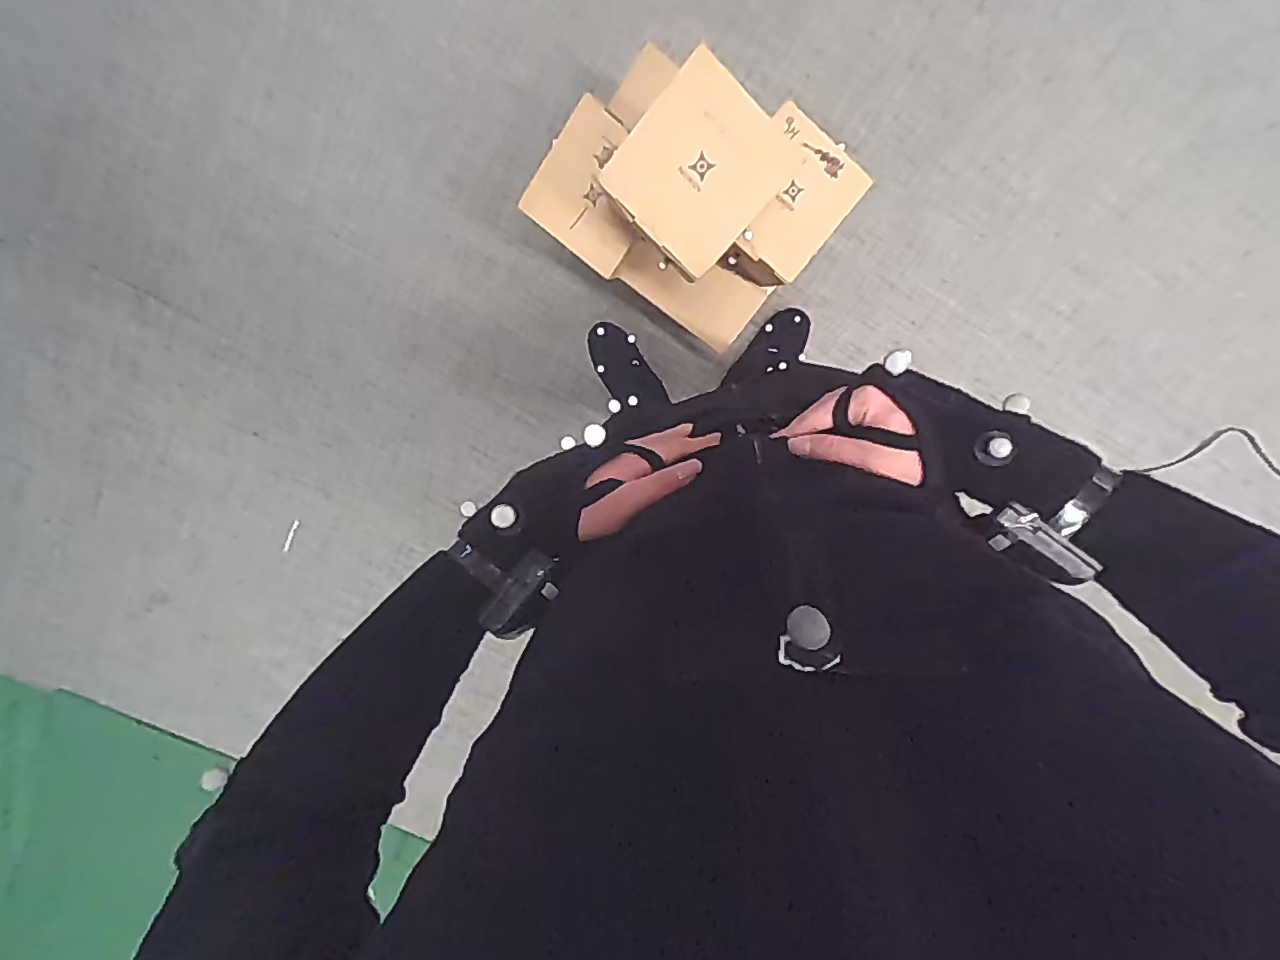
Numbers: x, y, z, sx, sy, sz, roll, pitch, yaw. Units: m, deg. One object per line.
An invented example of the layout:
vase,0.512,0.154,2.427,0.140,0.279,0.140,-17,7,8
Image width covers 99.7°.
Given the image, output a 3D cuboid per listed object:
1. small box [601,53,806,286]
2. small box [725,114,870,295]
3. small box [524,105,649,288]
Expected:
small box,0.073,-0.366,0.684,0.168,0.176,0.179,41,103,-12
small box,0.212,-0.406,0.840,0.168,0.176,0.179,37,104,-9
small box,-0.051,-0.424,0.841,0.168,0.176,0.179,38,107,-10
